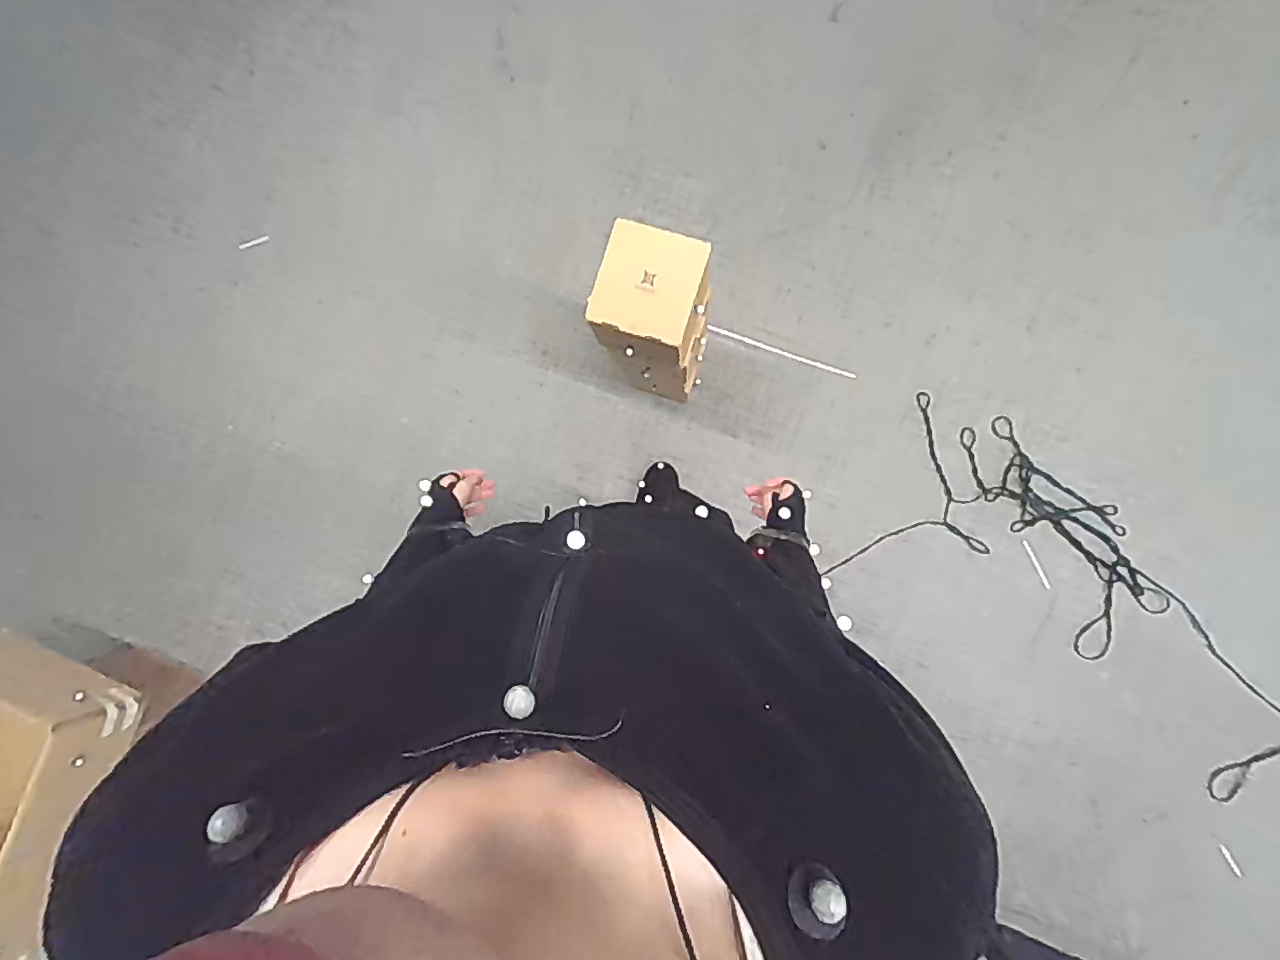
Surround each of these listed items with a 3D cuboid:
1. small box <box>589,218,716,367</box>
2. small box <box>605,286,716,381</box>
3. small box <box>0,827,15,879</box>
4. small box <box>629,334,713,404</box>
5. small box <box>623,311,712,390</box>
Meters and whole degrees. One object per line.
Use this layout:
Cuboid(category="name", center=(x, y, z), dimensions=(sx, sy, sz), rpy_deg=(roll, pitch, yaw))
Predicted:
Cuboid(category="small box", center=(0.024, -0.318, 0.949), dimensions=(0.168, 0.176, 0.179), rpy_deg=(18, 91, 5))
Cuboid(category="small box", center=(0.044, -0.313, 1.111), dimensions=(0.179, 0.176, 0.168), rpy_deg=(18, 90, 4))
Cuboid(category="small box", center=(-1.430, 0.795, 1.077), dimensions=(0.168, 0.176, 0.179), rpy_deg=(23, 90, 4))
Cuboid(category="small box", center=(0.080, -0.313, 1.436), dimensions=(0.179, 0.176, 0.168), rpy_deg=(20, 90, 4))
Cuboid(category="small box", center=(0.058, -0.323, 1.274), dimensions=(0.179, 0.176, 0.168), rpy_deg=(20, 91, 5))
